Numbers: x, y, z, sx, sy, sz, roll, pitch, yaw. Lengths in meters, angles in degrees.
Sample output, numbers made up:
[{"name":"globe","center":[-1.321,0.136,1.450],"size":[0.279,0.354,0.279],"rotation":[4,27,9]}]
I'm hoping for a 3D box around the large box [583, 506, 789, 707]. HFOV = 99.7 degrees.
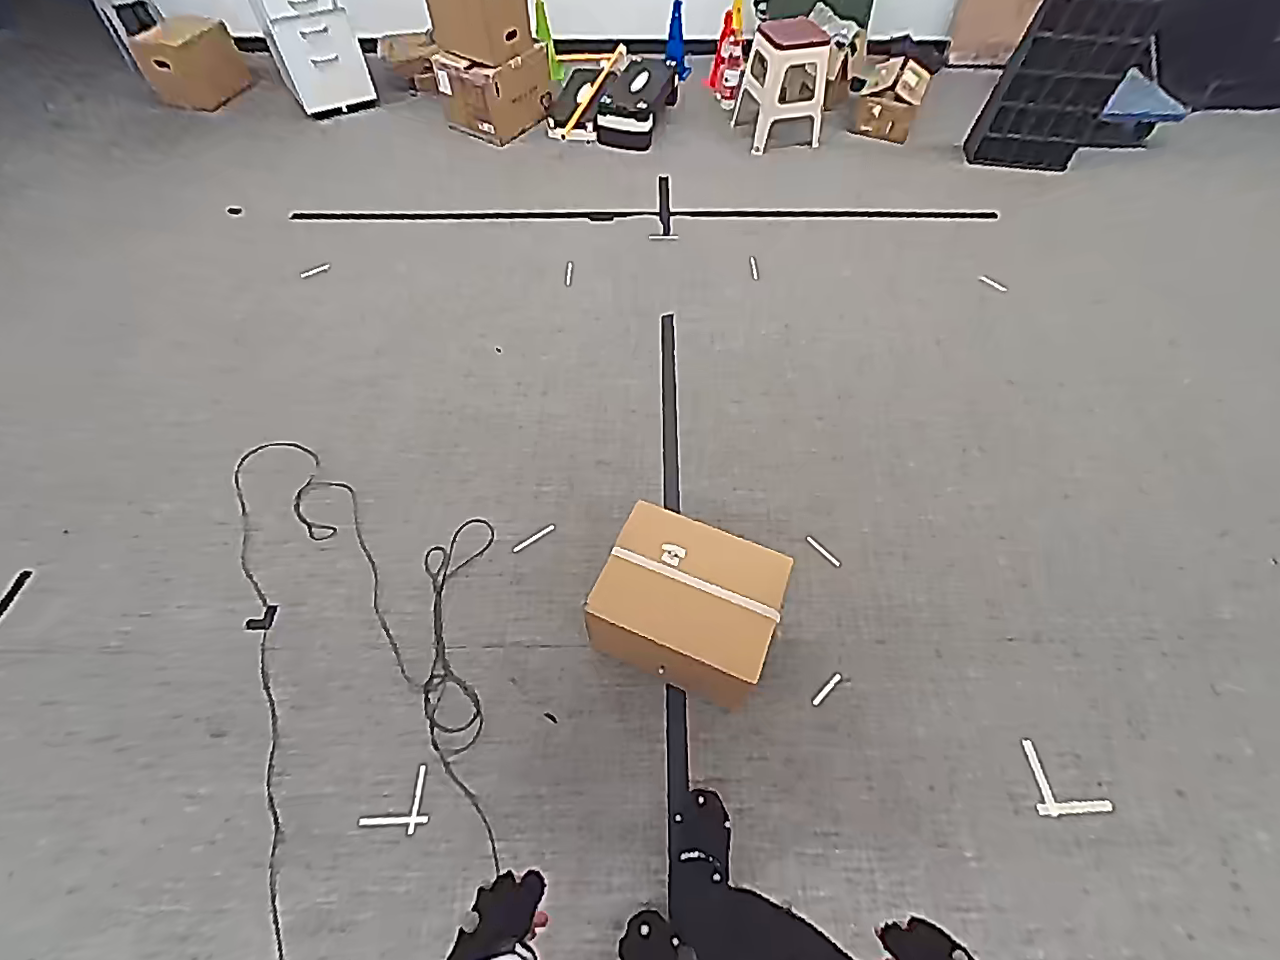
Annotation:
[{"name":"large box","center":[0.115,0.323,1.362],"size":[0.408,0.320,0.320],"rotation":[20,58,13]}]
